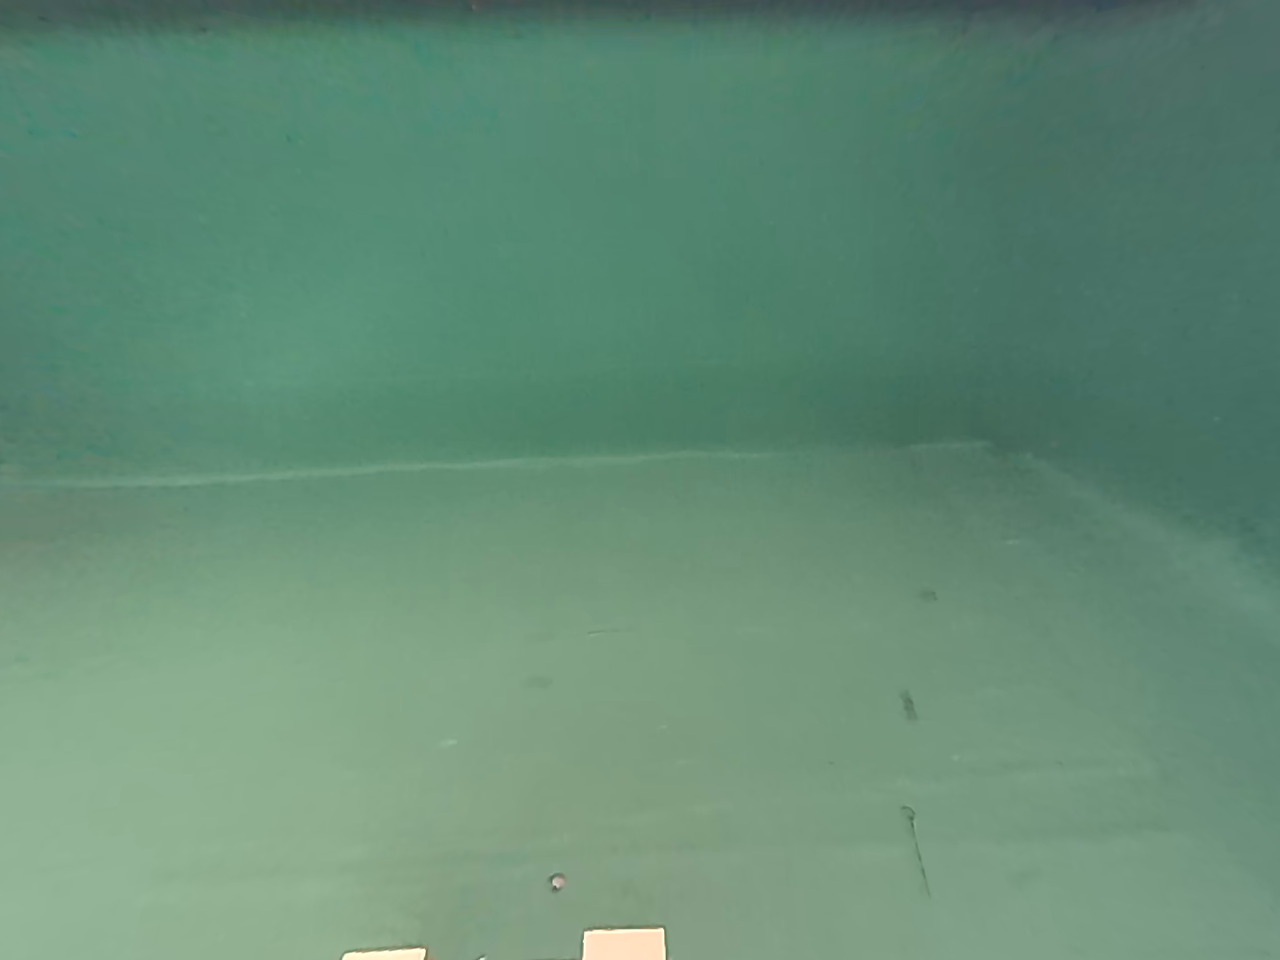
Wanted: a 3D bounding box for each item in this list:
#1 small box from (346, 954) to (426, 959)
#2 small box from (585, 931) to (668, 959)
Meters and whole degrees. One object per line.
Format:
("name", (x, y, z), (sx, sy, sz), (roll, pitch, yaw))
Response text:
("small box", (-0.498, 1.060, 1.045), (0.168, 0.176, 0.179), (-3, 32, -1))
("small box", (-0.025, 1.029, 1.063), (0.168, 0.176, 0.179), (-2, 33, 0))
